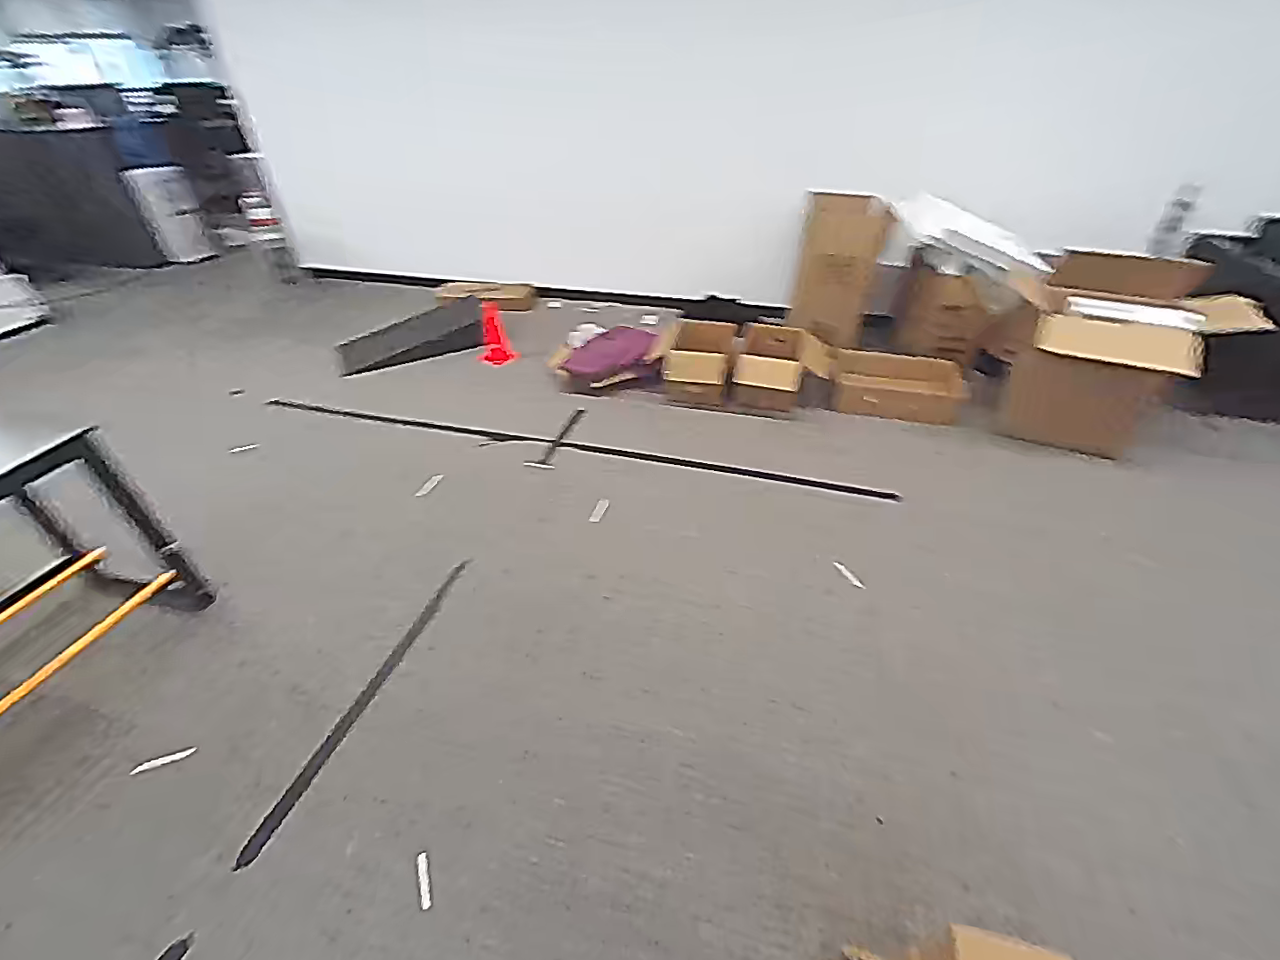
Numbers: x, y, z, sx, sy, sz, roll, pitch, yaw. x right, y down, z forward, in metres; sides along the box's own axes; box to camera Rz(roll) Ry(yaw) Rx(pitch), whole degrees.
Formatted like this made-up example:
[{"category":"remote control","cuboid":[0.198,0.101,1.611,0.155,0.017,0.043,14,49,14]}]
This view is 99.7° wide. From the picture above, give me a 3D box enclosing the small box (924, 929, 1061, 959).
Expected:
[{"category":"small box","cuboid":[0.561,0.831,0.825,0.179,0.176,0.168,9,40,12]}]
